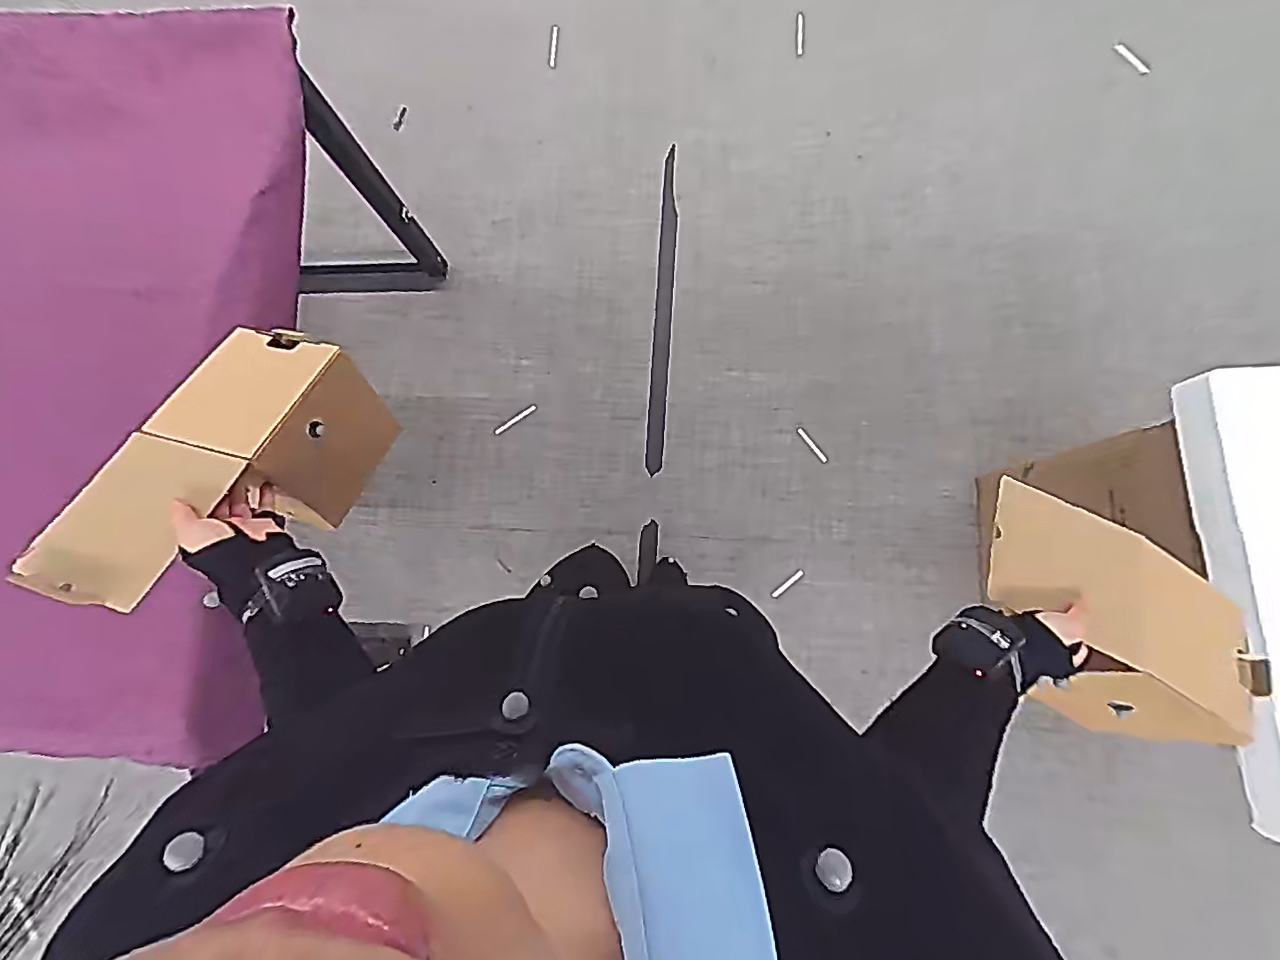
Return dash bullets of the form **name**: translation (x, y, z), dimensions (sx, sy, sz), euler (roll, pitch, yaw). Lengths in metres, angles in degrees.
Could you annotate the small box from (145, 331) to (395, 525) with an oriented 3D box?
- **small box**: translation (-0.458, -0.063, 0.706), dimensions (0.168, 0.176, 0.179), euler (12, 59, 13)
